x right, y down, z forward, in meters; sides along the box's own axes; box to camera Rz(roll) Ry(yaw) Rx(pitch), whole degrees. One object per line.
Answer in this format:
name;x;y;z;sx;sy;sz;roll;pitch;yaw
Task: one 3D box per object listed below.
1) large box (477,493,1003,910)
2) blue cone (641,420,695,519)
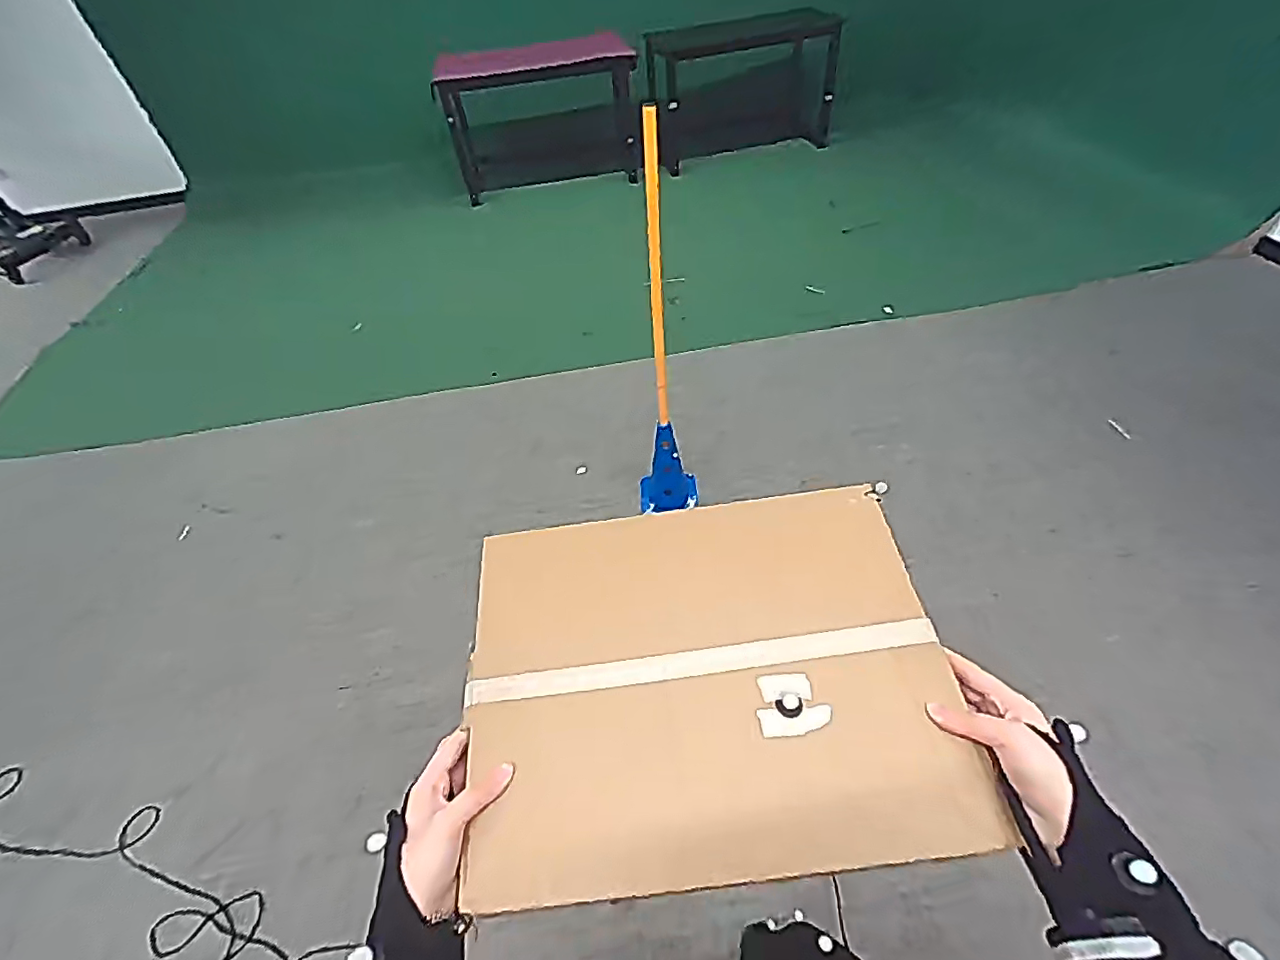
large box;0.068;0.250;0.603;0.408;0.320;0.320;-7;55;0
blue cone;0.087;-0.045;1.824;0.193;0.380;0.192;-3;47;4
